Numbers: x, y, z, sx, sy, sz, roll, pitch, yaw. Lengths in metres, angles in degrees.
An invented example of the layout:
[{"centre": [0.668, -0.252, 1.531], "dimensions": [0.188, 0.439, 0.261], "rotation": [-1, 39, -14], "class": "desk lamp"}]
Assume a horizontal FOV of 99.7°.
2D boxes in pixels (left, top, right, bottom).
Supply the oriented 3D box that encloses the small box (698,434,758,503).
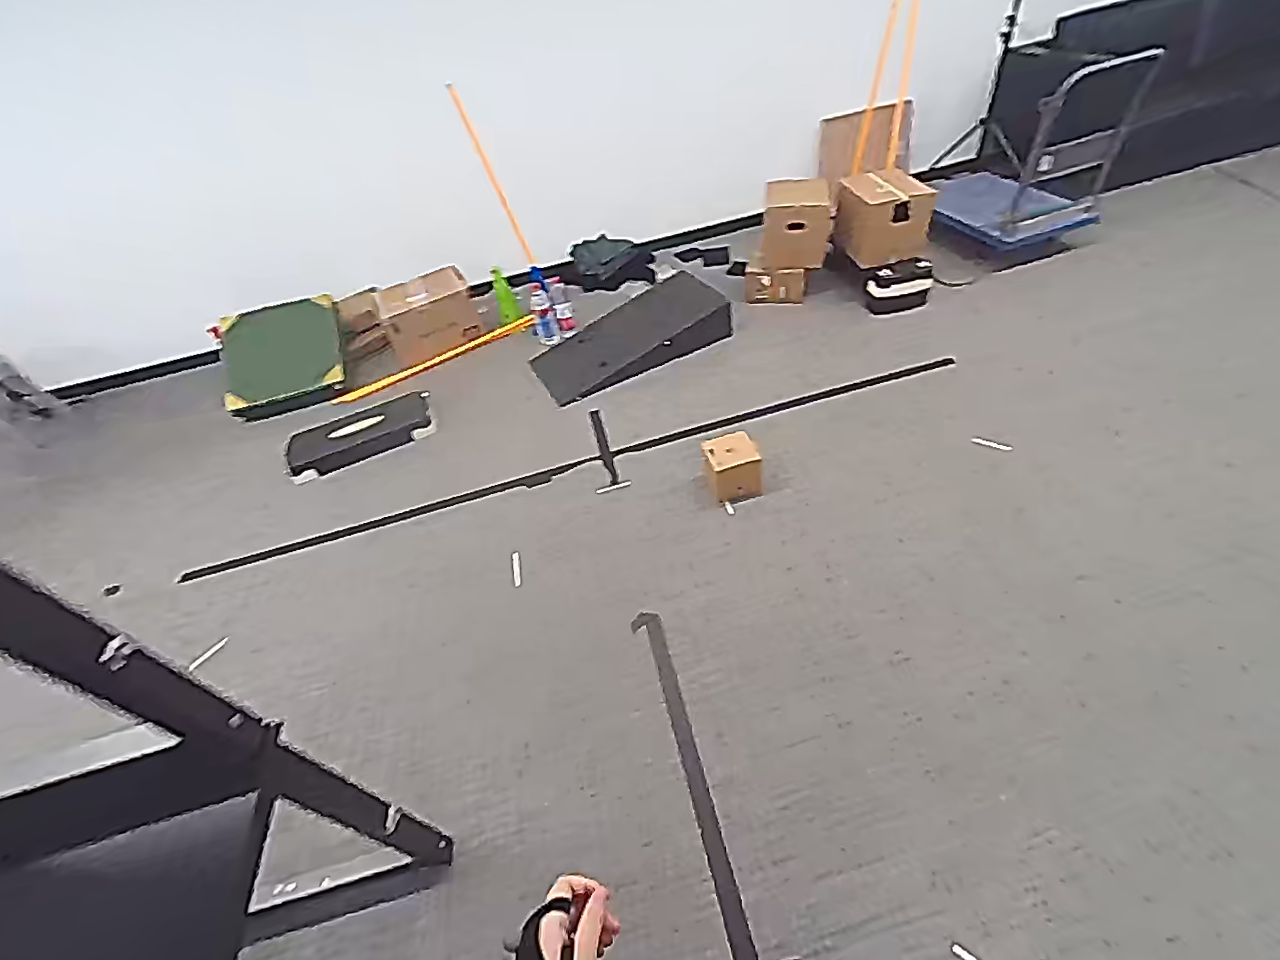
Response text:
[{"centre": [0.325, -0.042, 2.008], "dimensions": [0.179, 0.176, 0.168], "rotation": [-15, 44, -5], "class": "small box"}]
